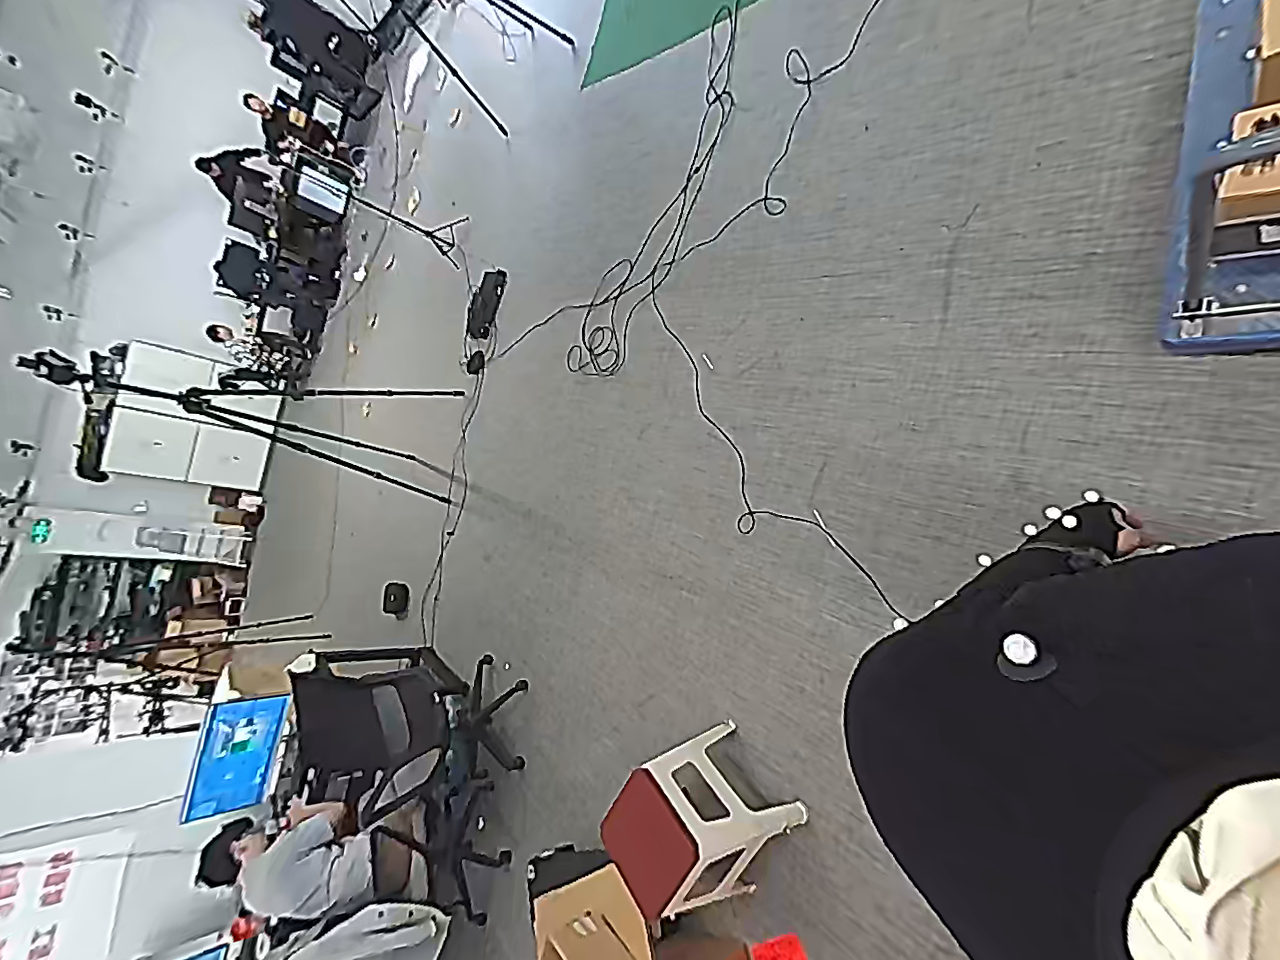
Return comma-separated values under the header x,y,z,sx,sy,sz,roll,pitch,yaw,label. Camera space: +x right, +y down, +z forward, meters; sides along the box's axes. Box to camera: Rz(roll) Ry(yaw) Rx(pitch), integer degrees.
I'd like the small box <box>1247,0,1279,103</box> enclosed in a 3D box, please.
x,y,z,sx,sy,sz,roll,pitch,yaw,label
1.249,-0.841,0.994,0.168,0.176,0.179,2,83,45,small box
